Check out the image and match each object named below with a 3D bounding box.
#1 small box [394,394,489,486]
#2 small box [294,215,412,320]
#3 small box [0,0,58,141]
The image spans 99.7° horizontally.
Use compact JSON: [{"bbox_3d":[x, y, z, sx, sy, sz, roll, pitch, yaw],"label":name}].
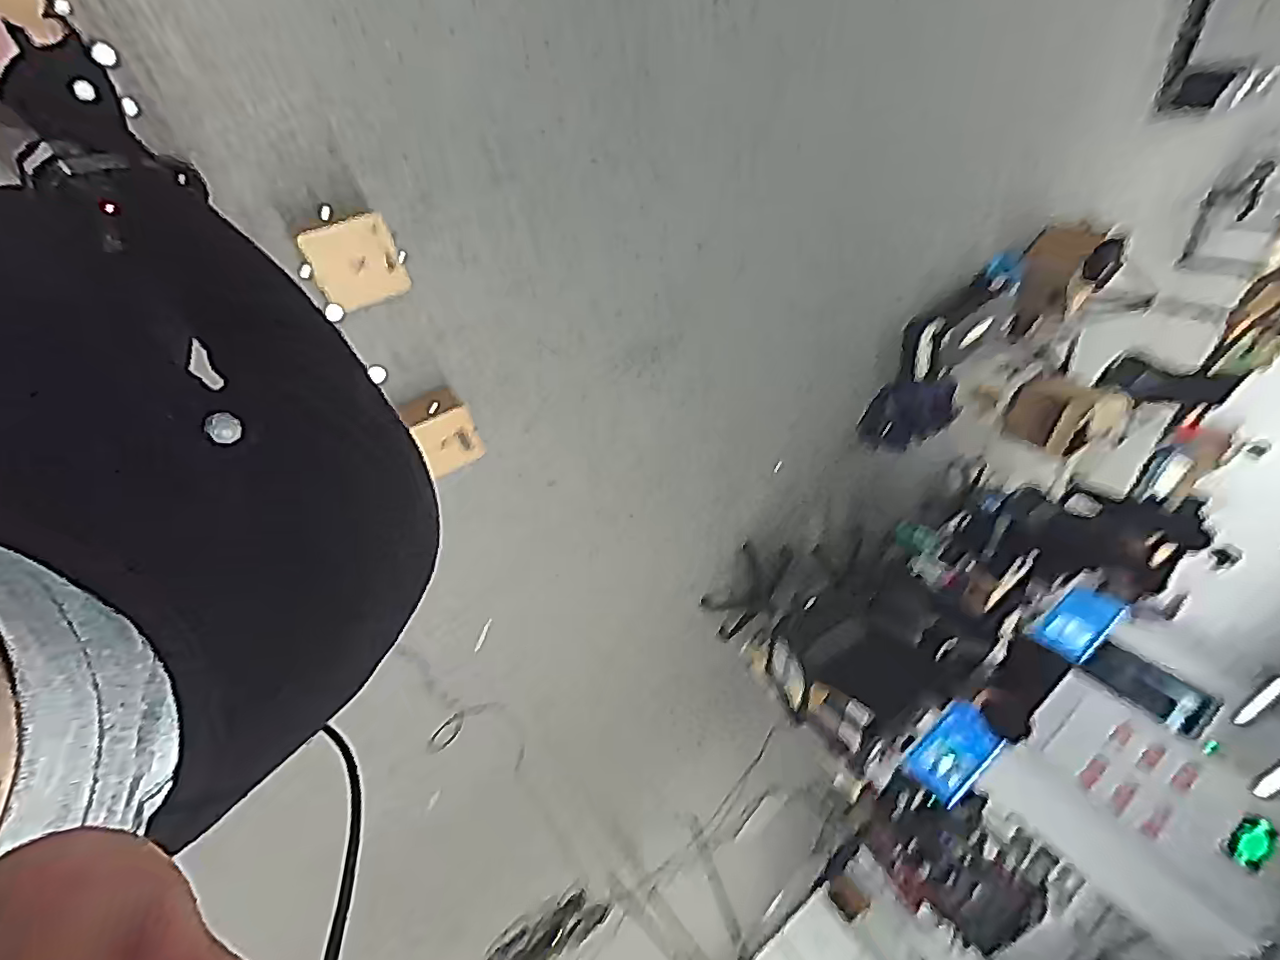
[{"bbox_3d":[-0.555,-0.118,1.508,0.179,0.176,0.168,-30,130,-20],"label":"small box"},{"bbox_3d":[-0.648,-0.482,1.215,0.179,0.176,0.168,-30,131,-21],"label":"small box"},{"bbox_3d":[-0.603,-0.417,0.440,0.168,0.176,0.179,-2,98,-44],"label":"small box"}]
